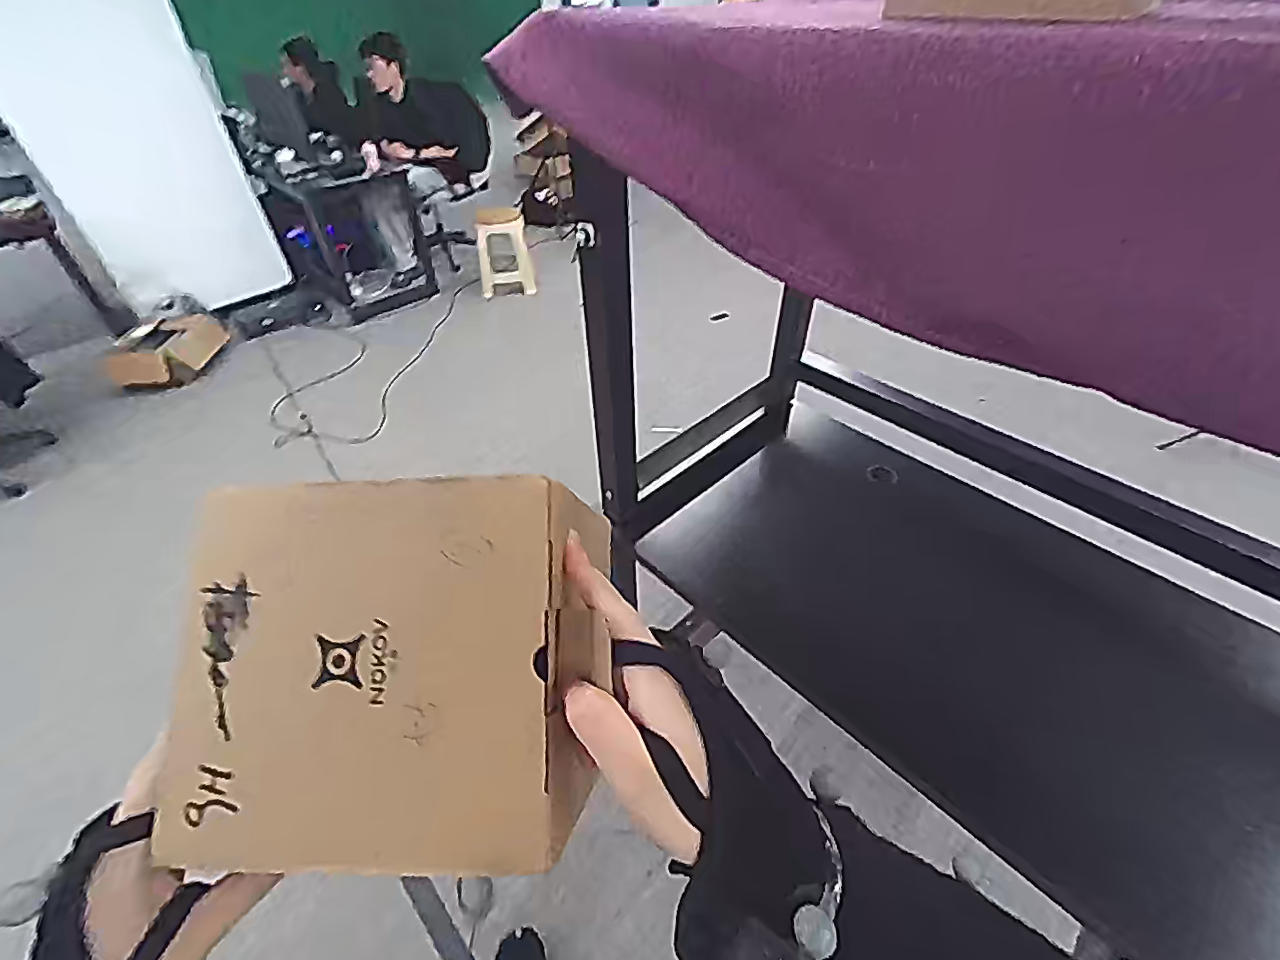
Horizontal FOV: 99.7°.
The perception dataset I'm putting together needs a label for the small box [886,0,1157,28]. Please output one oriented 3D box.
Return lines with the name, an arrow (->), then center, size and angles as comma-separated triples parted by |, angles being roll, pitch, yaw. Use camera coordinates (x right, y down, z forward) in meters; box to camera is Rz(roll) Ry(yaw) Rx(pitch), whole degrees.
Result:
small box -> 0.320, -0.455, 0.404 | 0.179, 0.176, 0.168 | 31, 51, 31
